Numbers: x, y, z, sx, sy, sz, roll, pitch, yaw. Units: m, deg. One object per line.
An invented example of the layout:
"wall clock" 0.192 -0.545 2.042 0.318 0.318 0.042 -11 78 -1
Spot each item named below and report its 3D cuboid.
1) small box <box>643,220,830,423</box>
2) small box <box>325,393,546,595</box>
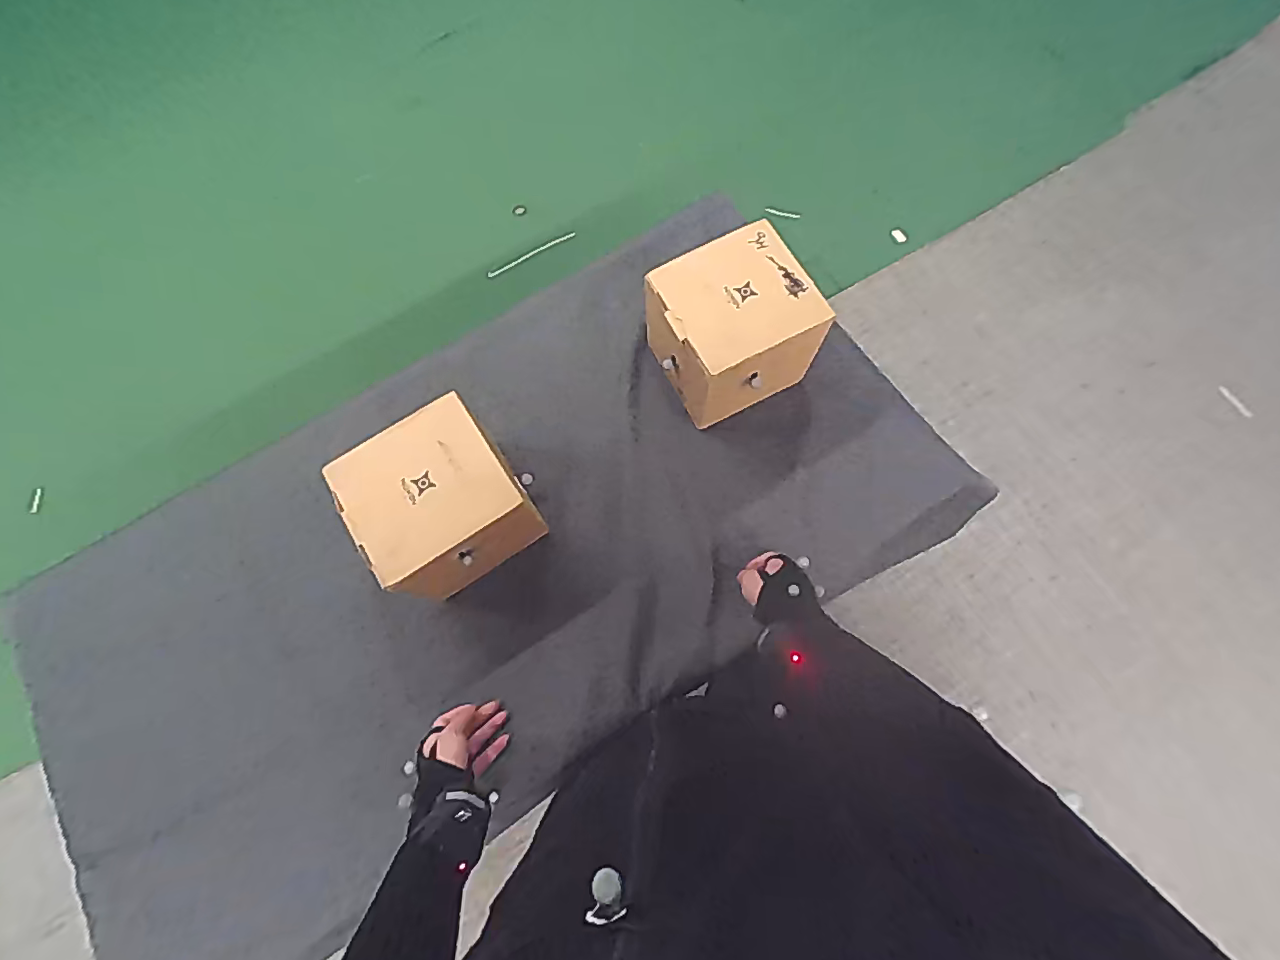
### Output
"small box" 0.120 -0.202 0.733 0.179 0.176 0.168 -27 75 -5
"small box" -0.241 0.029 0.681 0.179 0.176 0.168 -33 76 -9
